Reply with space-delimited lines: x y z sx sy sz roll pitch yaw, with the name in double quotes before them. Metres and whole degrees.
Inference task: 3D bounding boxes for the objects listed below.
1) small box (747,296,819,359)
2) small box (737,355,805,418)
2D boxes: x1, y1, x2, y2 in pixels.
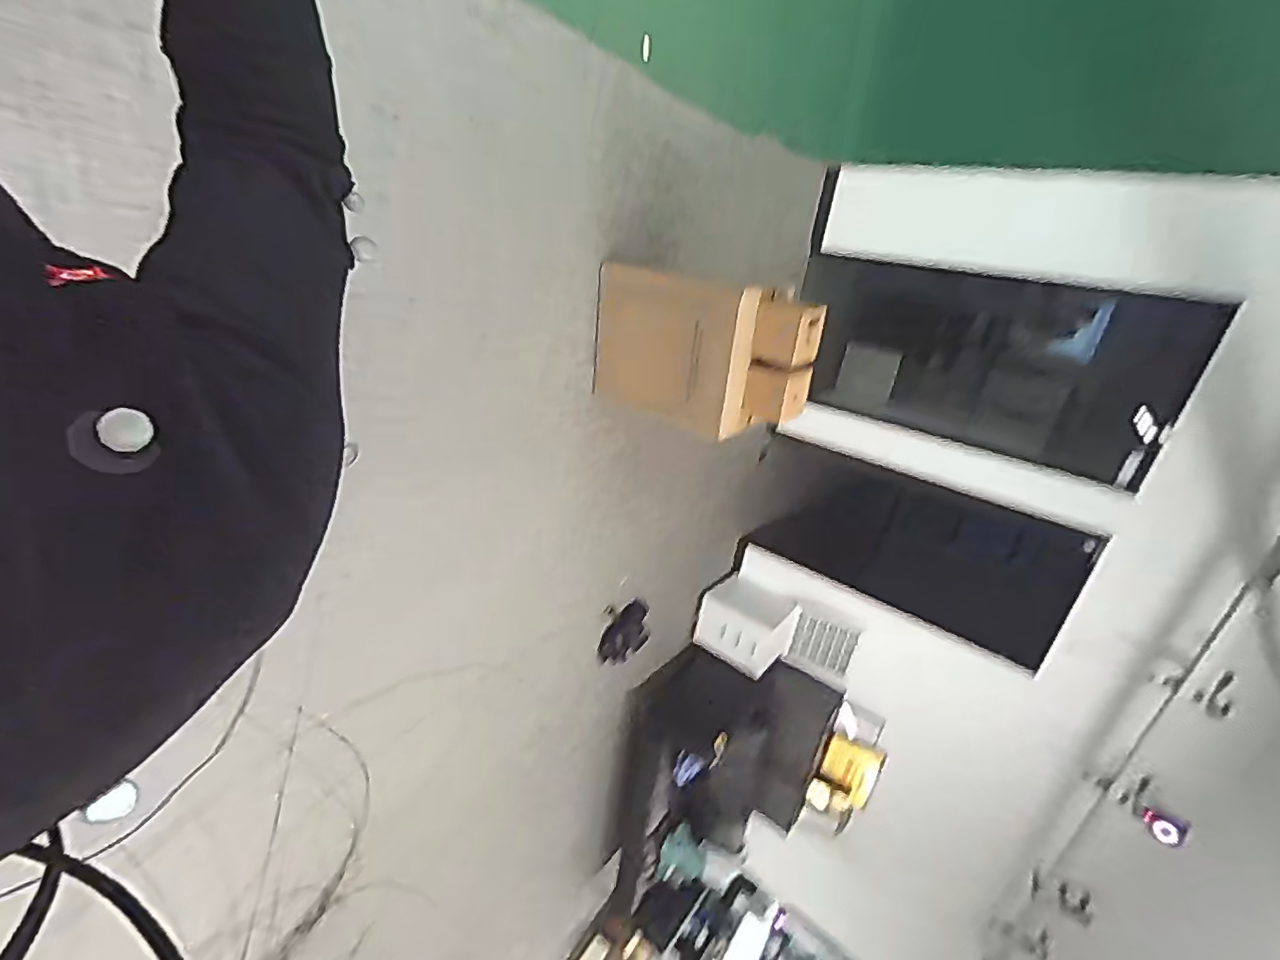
"small box" 0.491 -0.537 1.877 0.168 0.176 0.179 -23 129 -41
"small box" 0.474 -0.349 1.979 0.168 0.176 0.179 -24 131 -40
